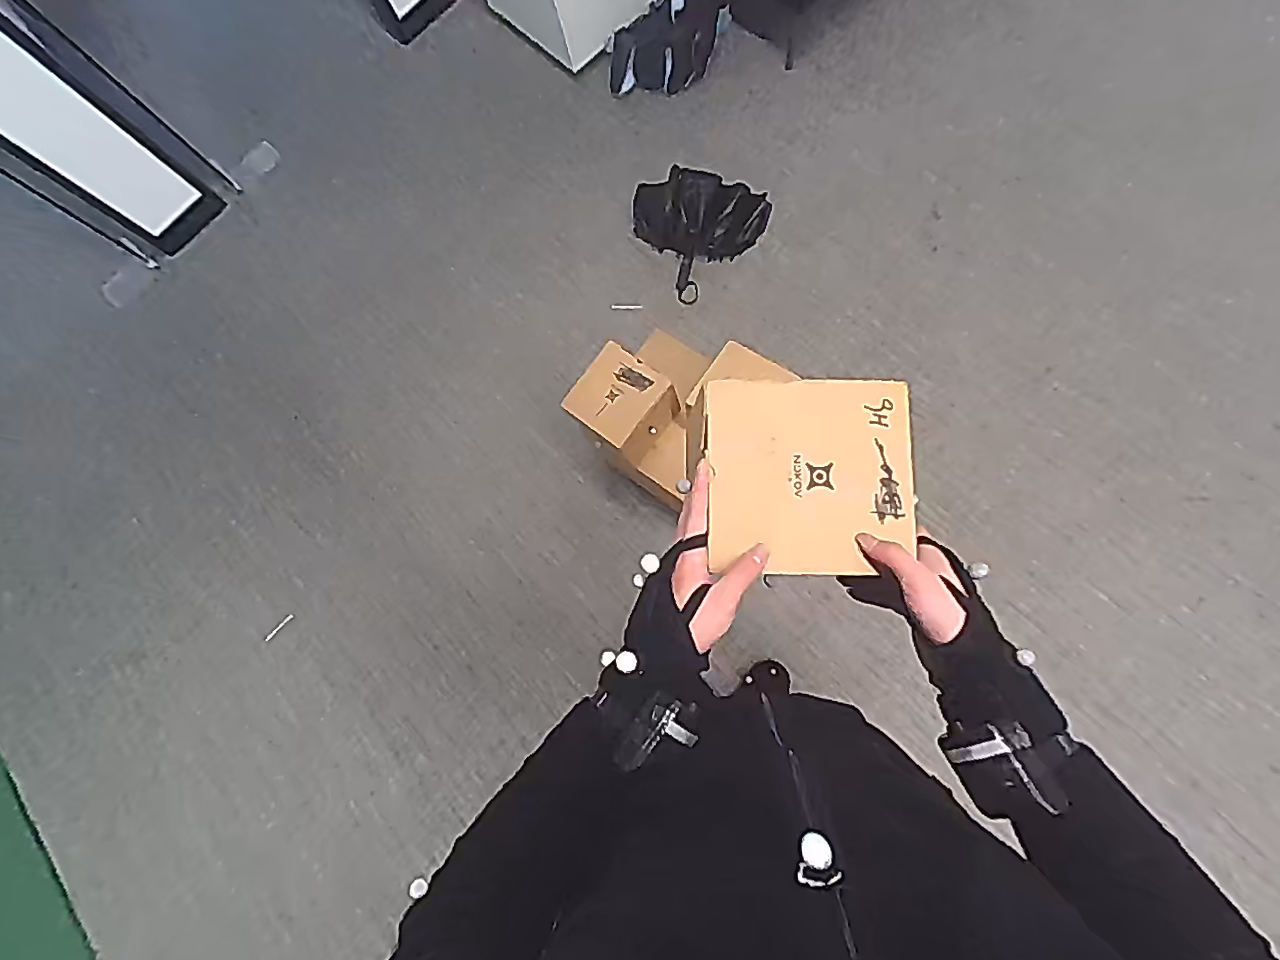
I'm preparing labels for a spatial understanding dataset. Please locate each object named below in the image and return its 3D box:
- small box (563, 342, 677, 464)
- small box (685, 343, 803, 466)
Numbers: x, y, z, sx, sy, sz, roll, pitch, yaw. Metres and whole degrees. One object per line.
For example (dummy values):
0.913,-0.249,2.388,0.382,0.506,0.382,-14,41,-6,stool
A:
-0.033,-0.159,1.177,0.168,0.176,0.179,37,88,16,small box
0.214,-0.149,1.135,0.179,0.176,0.168,33,80,16,small box
